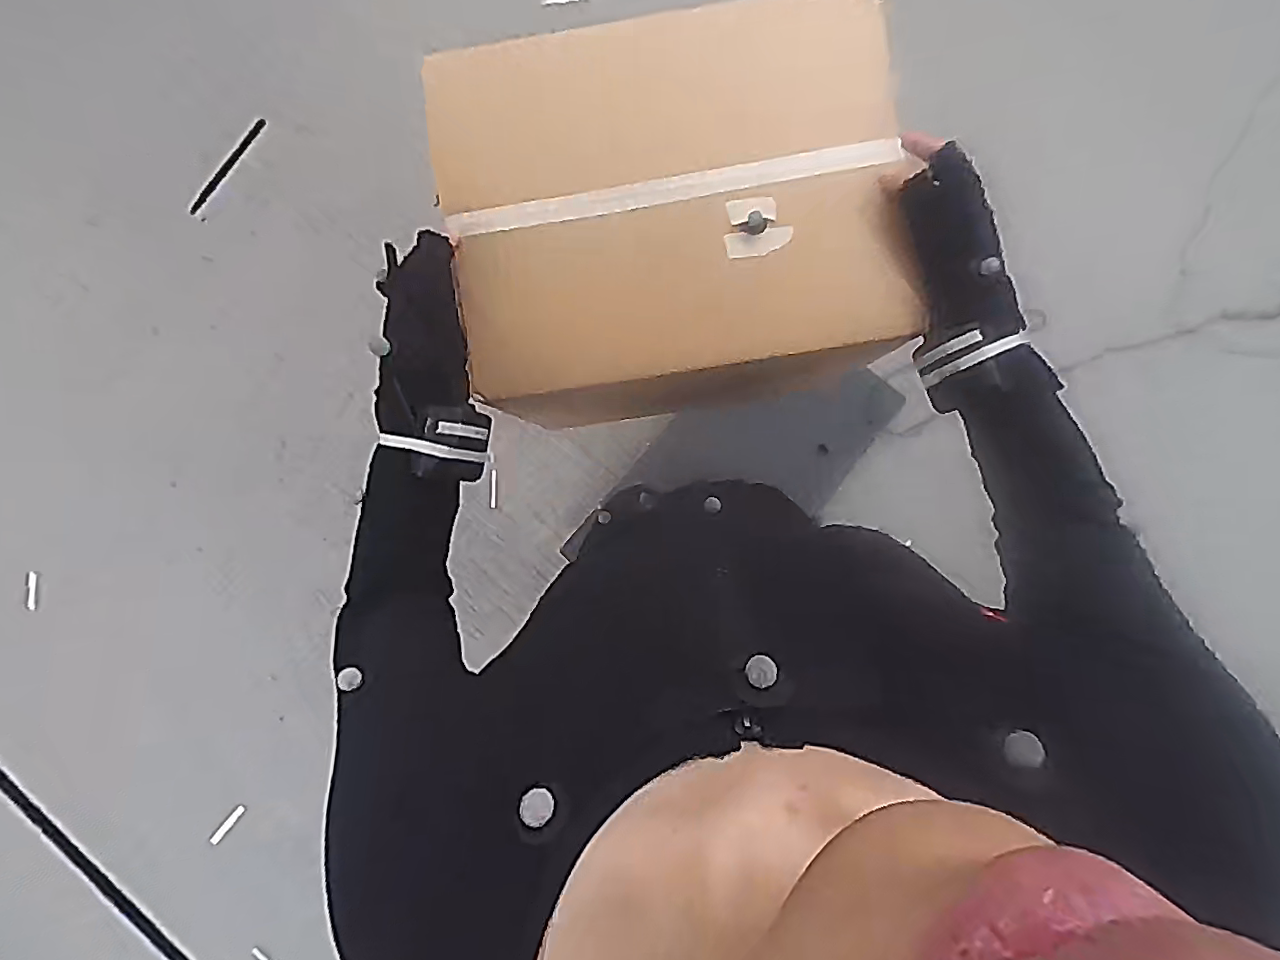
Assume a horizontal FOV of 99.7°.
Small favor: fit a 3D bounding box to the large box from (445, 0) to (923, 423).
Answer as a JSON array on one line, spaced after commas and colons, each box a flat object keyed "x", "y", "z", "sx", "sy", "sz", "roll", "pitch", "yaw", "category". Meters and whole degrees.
[{"x": 0.040, "y": -0.262, "z": 0.637, "sx": 0.408, "sy": 0.320, "sz": 0.320, "roll": -8, "pitch": 90, "yaw": 2, "category": "large box"}]
